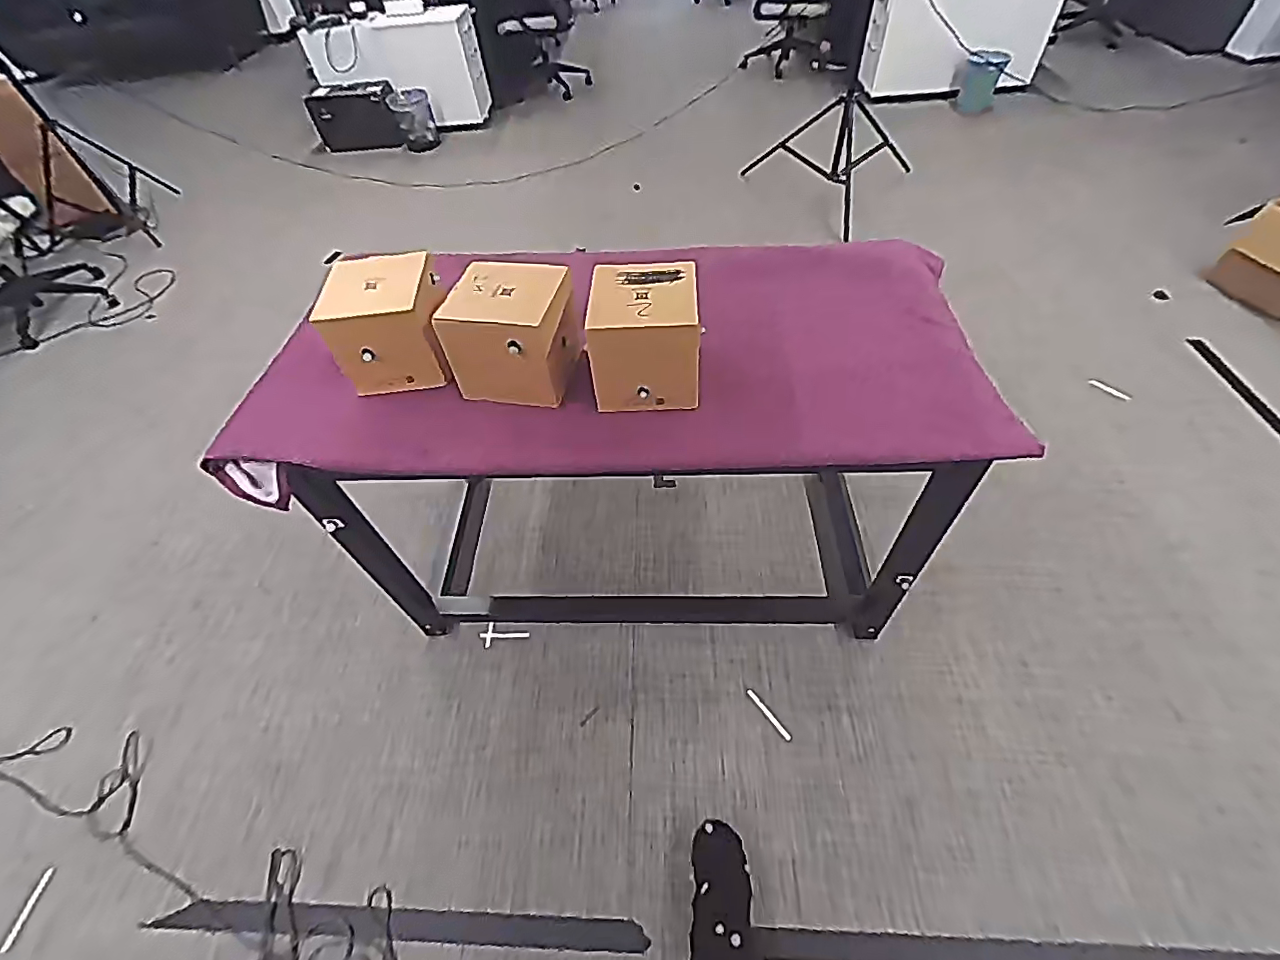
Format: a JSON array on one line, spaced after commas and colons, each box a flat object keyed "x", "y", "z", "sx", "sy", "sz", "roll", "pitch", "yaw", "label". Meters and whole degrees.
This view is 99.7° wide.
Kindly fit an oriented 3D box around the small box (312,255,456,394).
[{"x": -0.440, "y": -0.269, "z": 0.964, "sx": 0.168, "sy": 0.176, "sz": 0.179, "roll": -8, "pitch": 52, "yaw": -1, "label": "small box"}]
